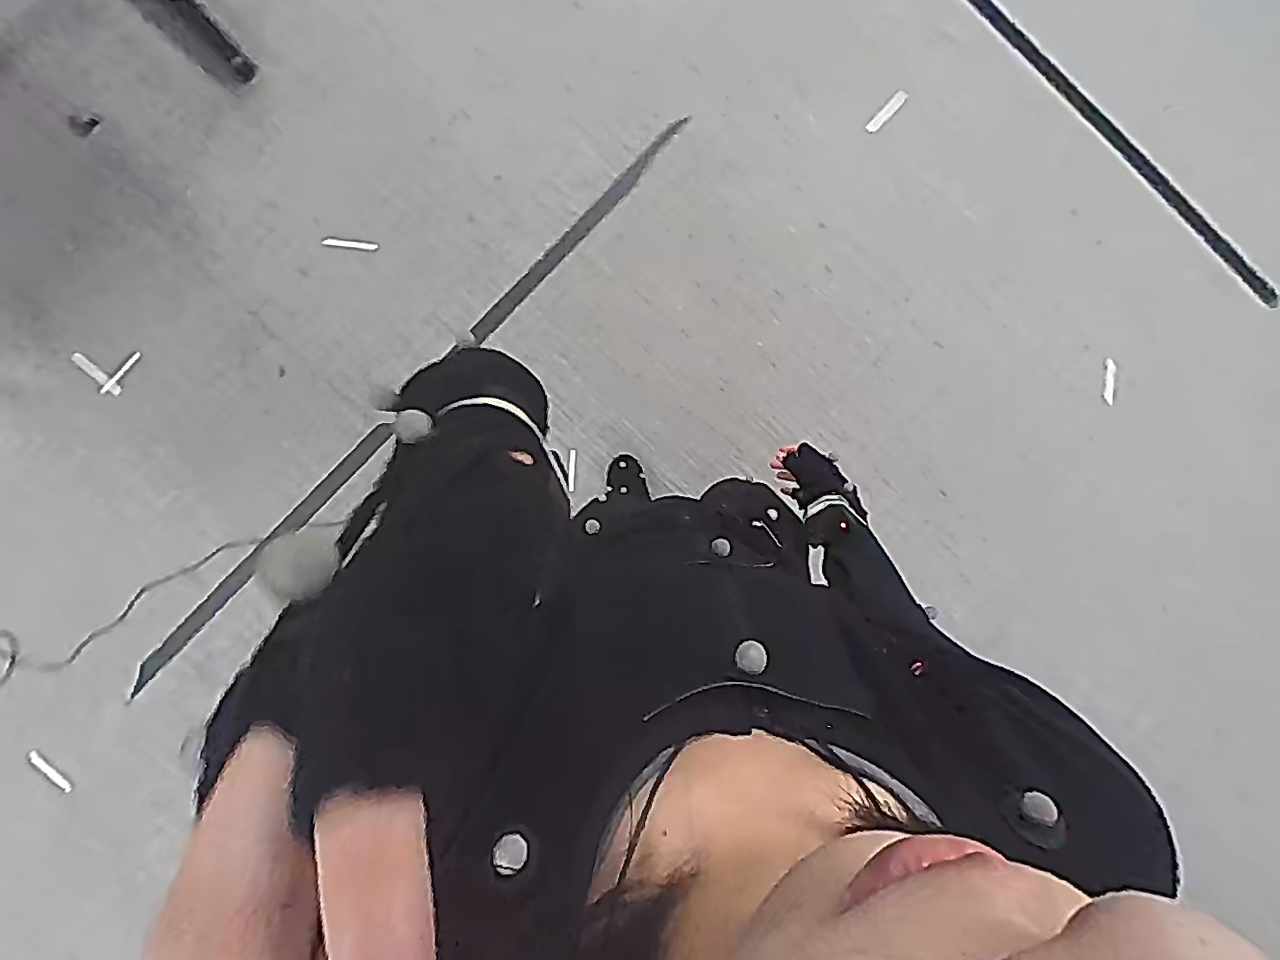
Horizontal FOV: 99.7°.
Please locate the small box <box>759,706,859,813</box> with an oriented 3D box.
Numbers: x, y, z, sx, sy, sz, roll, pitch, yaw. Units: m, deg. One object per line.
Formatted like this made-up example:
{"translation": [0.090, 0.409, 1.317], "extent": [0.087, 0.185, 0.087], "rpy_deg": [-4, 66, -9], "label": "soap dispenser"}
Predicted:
{"translation": [0.446, 0.739, 1.452], "extent": [0.179, 0.176, 0.168], "rpy_deg": [25, 88, -1], "label": "small box"}
